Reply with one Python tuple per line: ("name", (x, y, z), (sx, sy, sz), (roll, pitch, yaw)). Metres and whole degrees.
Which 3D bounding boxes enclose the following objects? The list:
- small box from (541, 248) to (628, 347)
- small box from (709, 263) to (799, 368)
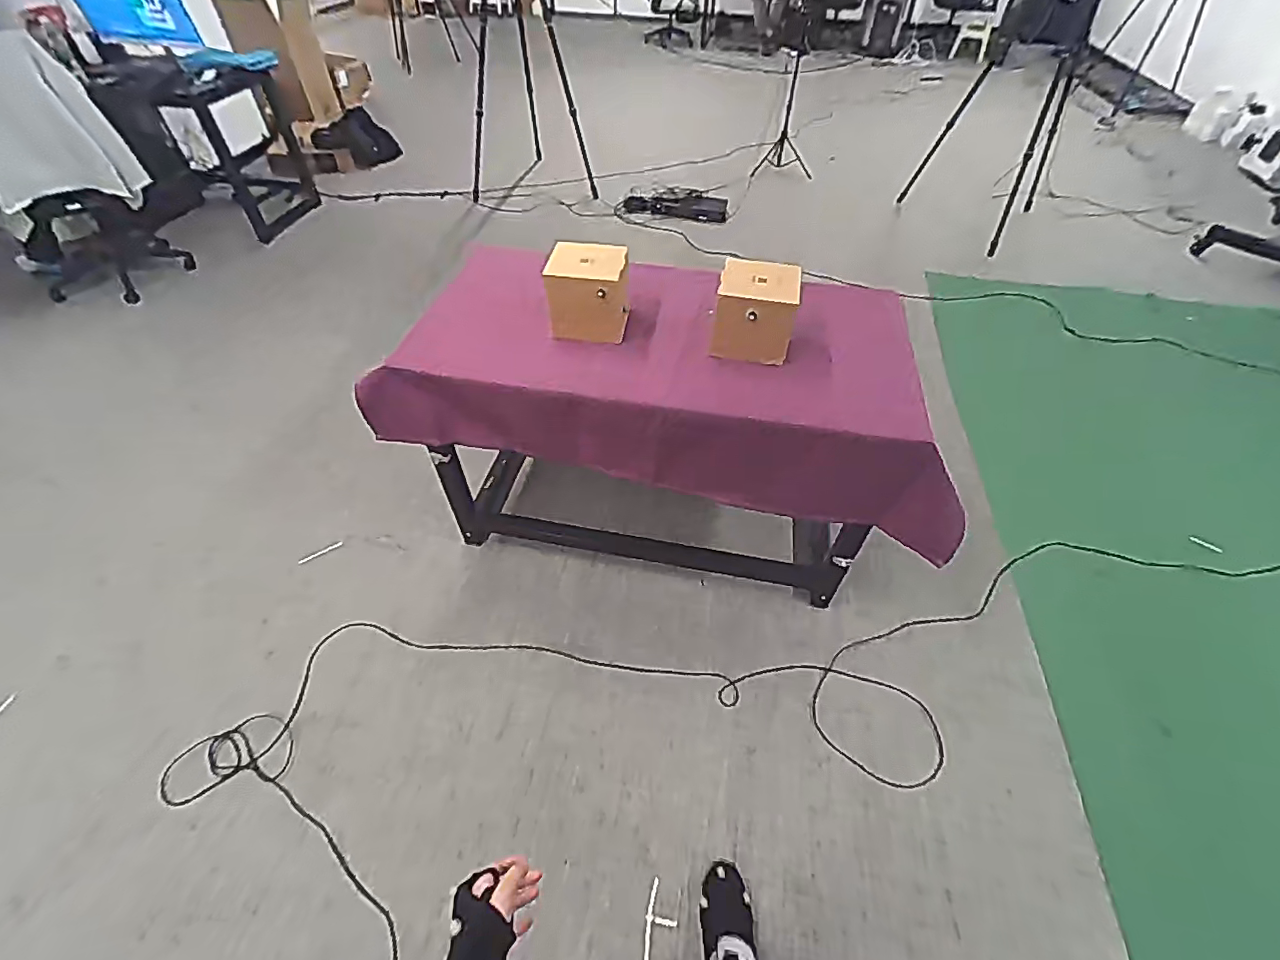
("small box", (-0.127, -0.439, 1.308), (0.179, 0.176, 0.168), (6, 48, 3))
("small box", (0.262, -0.381, 1.259), (0.179, 0.176, 0.168), (11, 50, 8))
